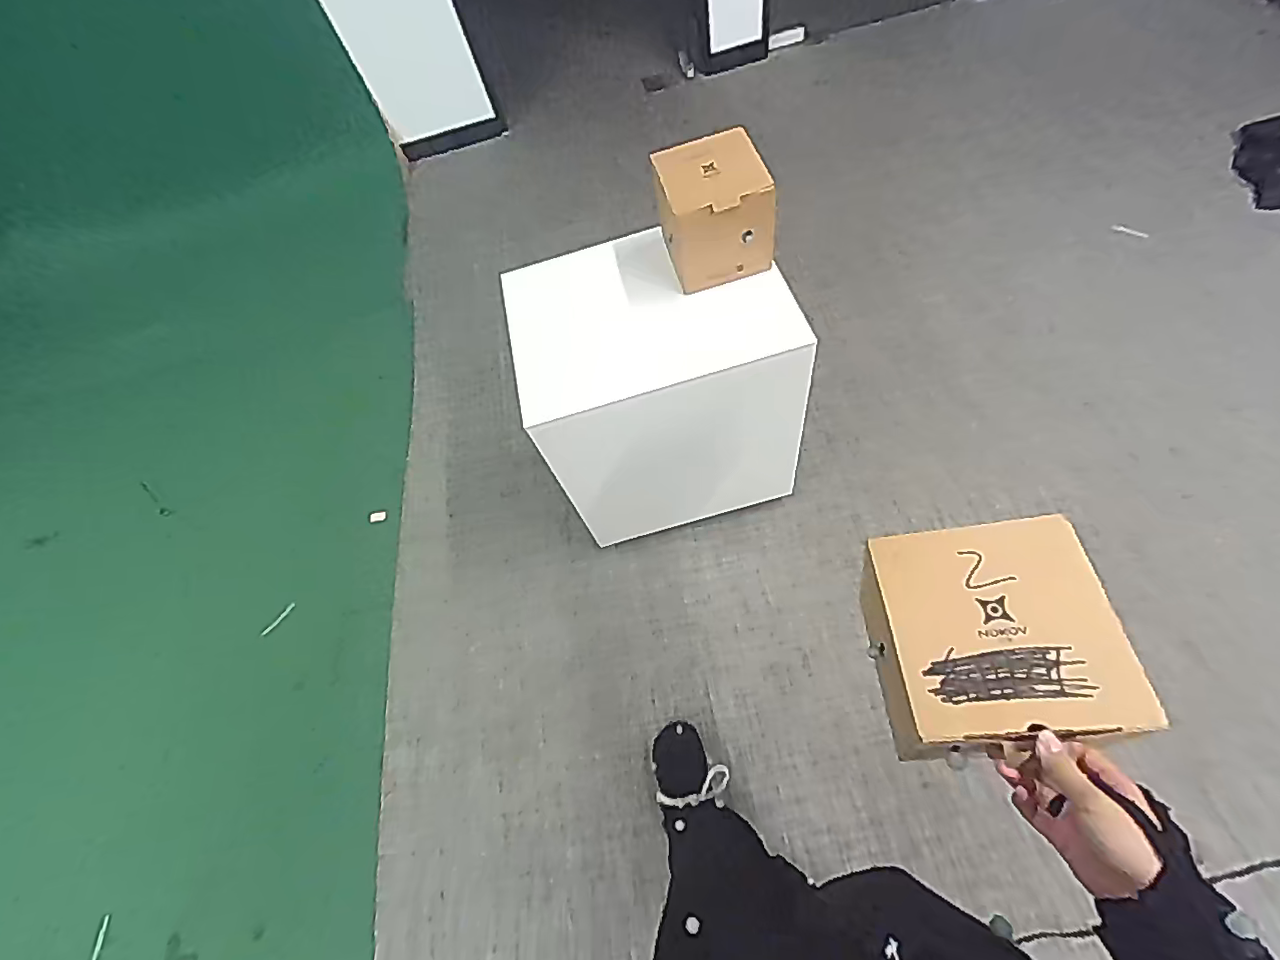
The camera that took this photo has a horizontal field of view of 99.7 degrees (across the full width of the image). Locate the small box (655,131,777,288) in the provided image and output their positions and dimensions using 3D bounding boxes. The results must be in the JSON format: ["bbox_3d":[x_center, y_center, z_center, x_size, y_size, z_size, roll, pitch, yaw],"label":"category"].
[{"bbox_3d":[0.133,-0.462,0.949,0.168,0.176,0.179,-15,60,2],"label":"small box"}]
